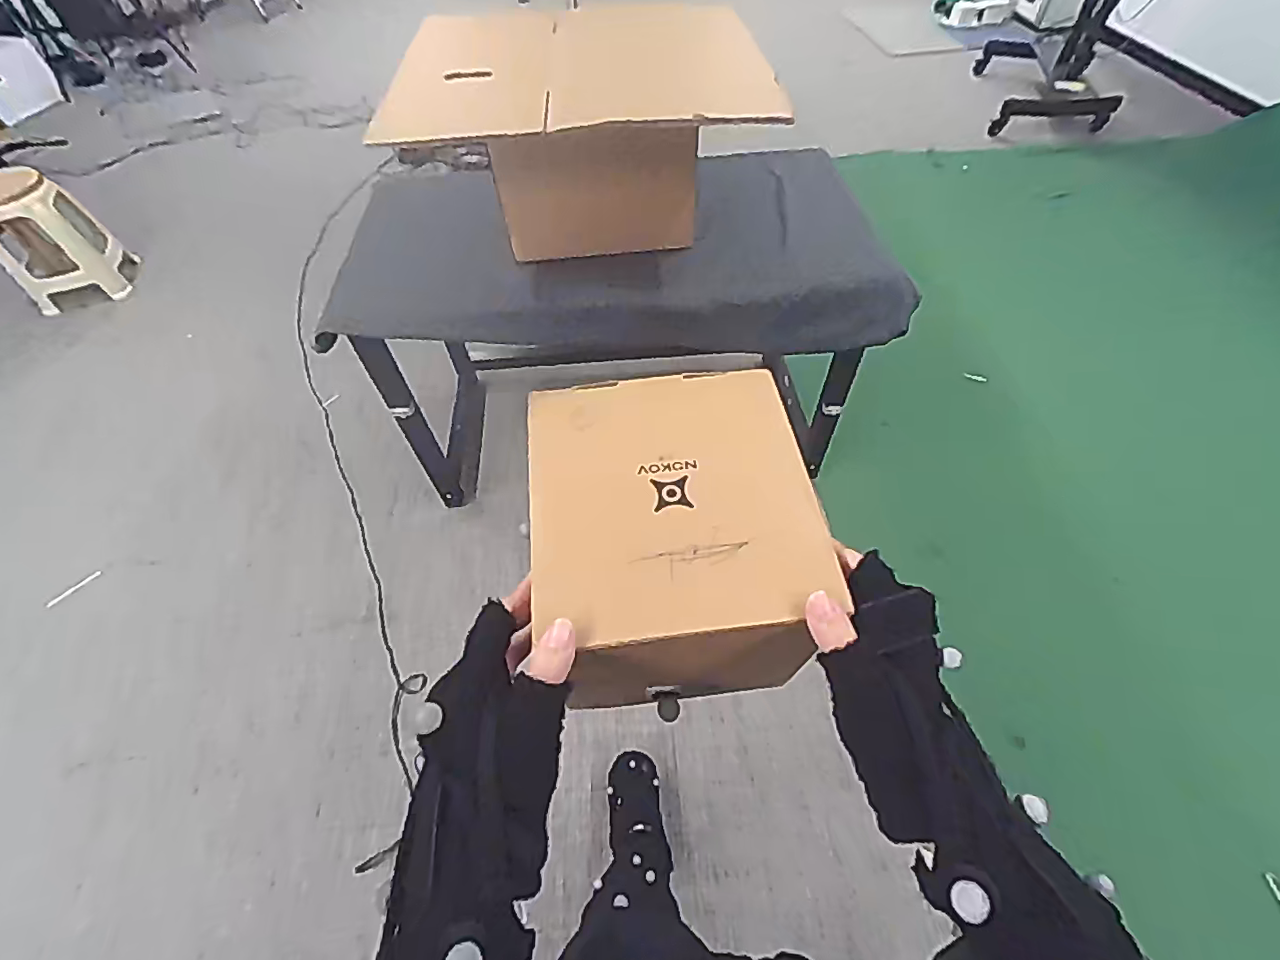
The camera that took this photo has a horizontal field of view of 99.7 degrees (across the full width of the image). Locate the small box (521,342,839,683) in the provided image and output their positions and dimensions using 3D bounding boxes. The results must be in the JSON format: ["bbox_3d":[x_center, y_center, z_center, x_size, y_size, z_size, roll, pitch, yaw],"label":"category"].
[{"bbox_3d":[0.013,0.029,0.383,0.168,0.176,0.179,-6,58,-3],"label":"small box"}]
